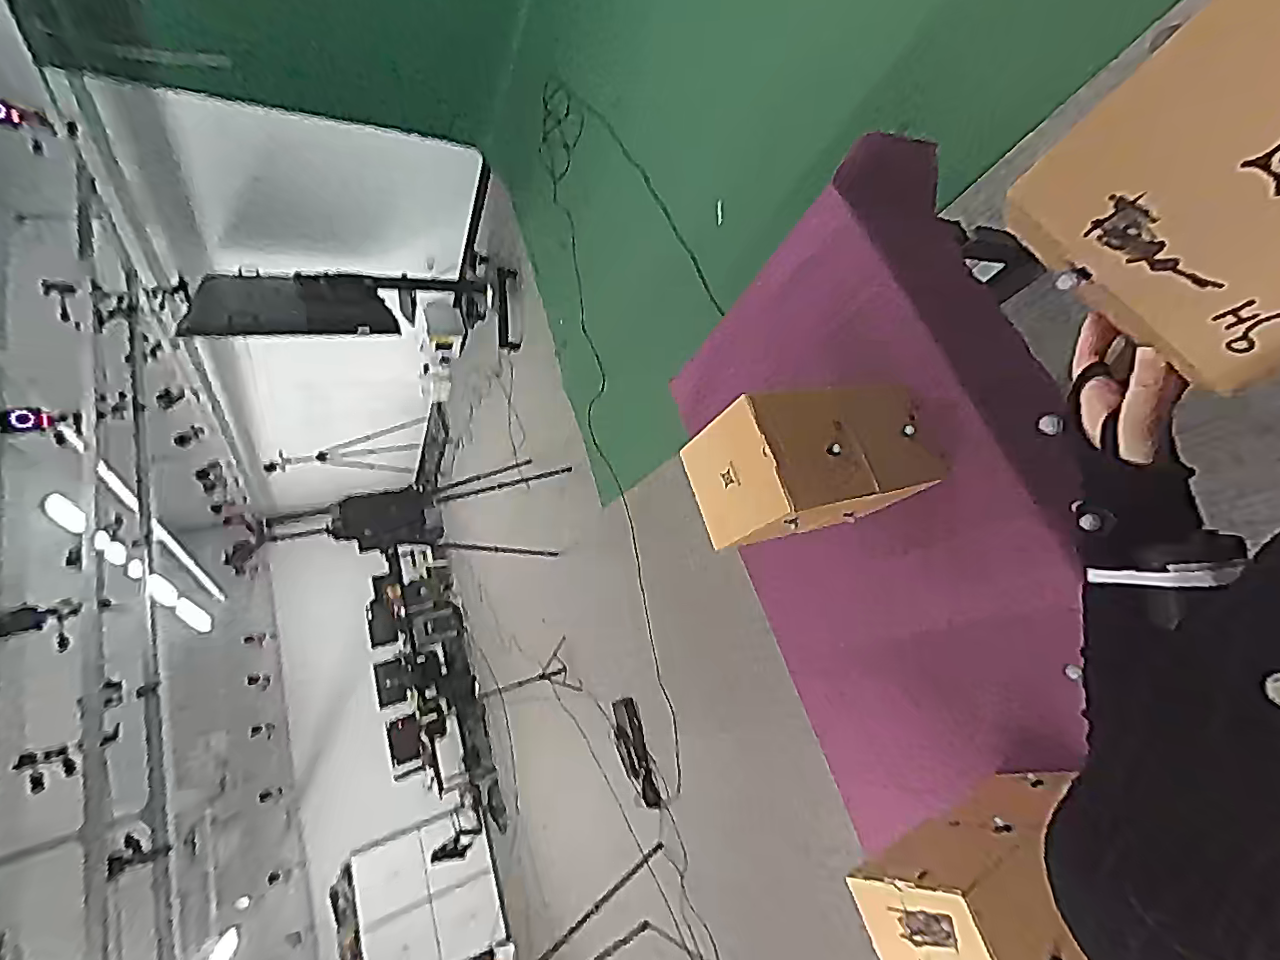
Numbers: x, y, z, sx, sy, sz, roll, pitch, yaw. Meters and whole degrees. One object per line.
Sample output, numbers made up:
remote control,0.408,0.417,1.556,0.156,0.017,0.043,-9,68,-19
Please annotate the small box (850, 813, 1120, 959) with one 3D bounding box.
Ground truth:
small box,0.382,0.499,0.604,0.168,0.176,0.179,-50,56,52

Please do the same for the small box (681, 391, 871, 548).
small box,0.191,-0.015,0.784,0.179,0.176,0.168,-42,62,54

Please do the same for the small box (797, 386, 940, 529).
small box,0.331,-0.035,0.866,0.179,0.176,0.168,-42,63,54

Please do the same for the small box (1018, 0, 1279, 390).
small box,0.359,-0.179,0.317,0.168,0.176,0.179,52,125,8
